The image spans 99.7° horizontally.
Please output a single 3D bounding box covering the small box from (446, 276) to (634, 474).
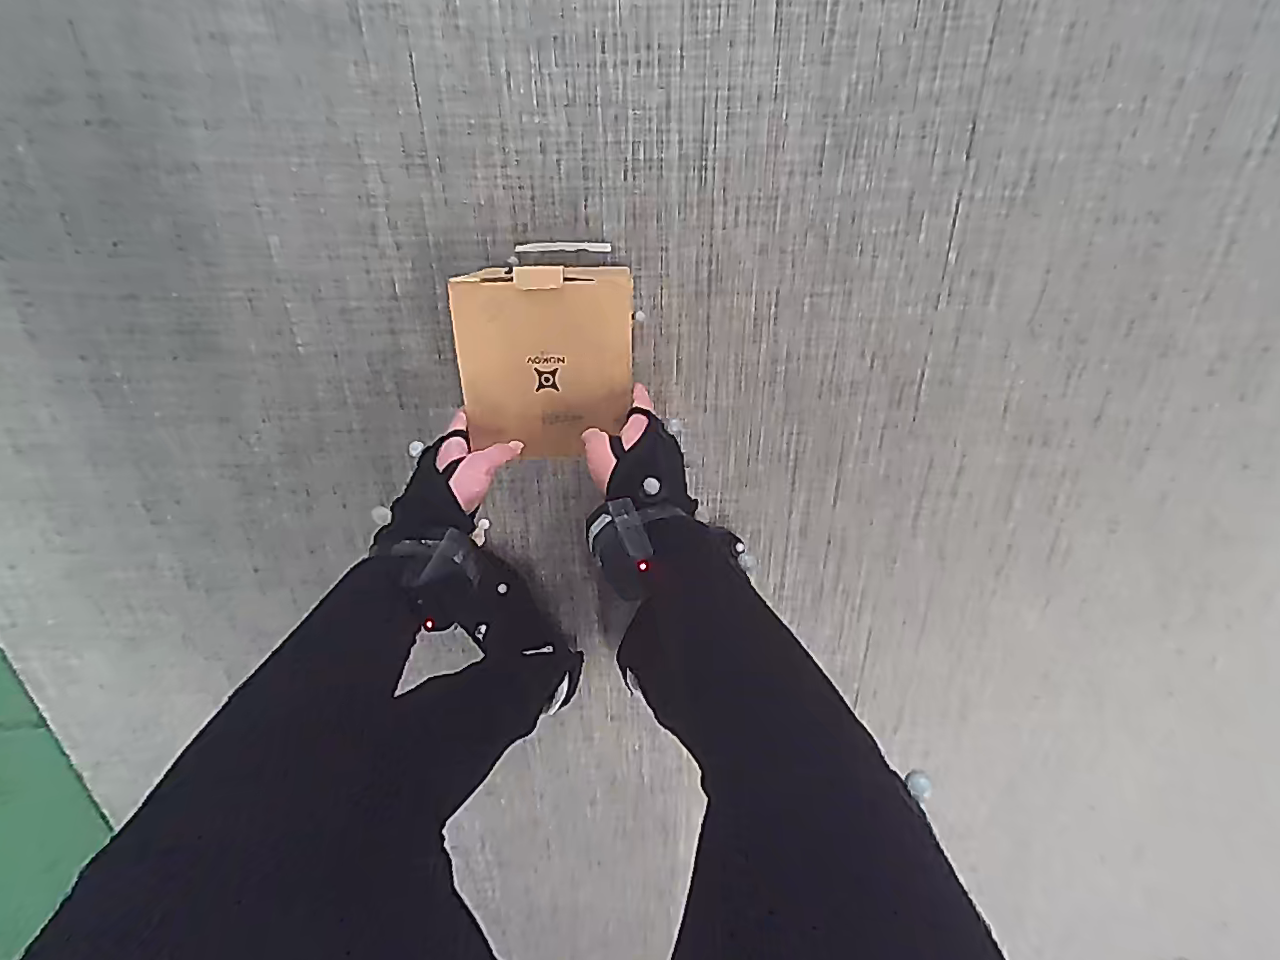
[{"bbox_3d":[-0.092,-0.119,0.574,0.168,0.176,0.179,1,114,-1],"label":"small box"}]
